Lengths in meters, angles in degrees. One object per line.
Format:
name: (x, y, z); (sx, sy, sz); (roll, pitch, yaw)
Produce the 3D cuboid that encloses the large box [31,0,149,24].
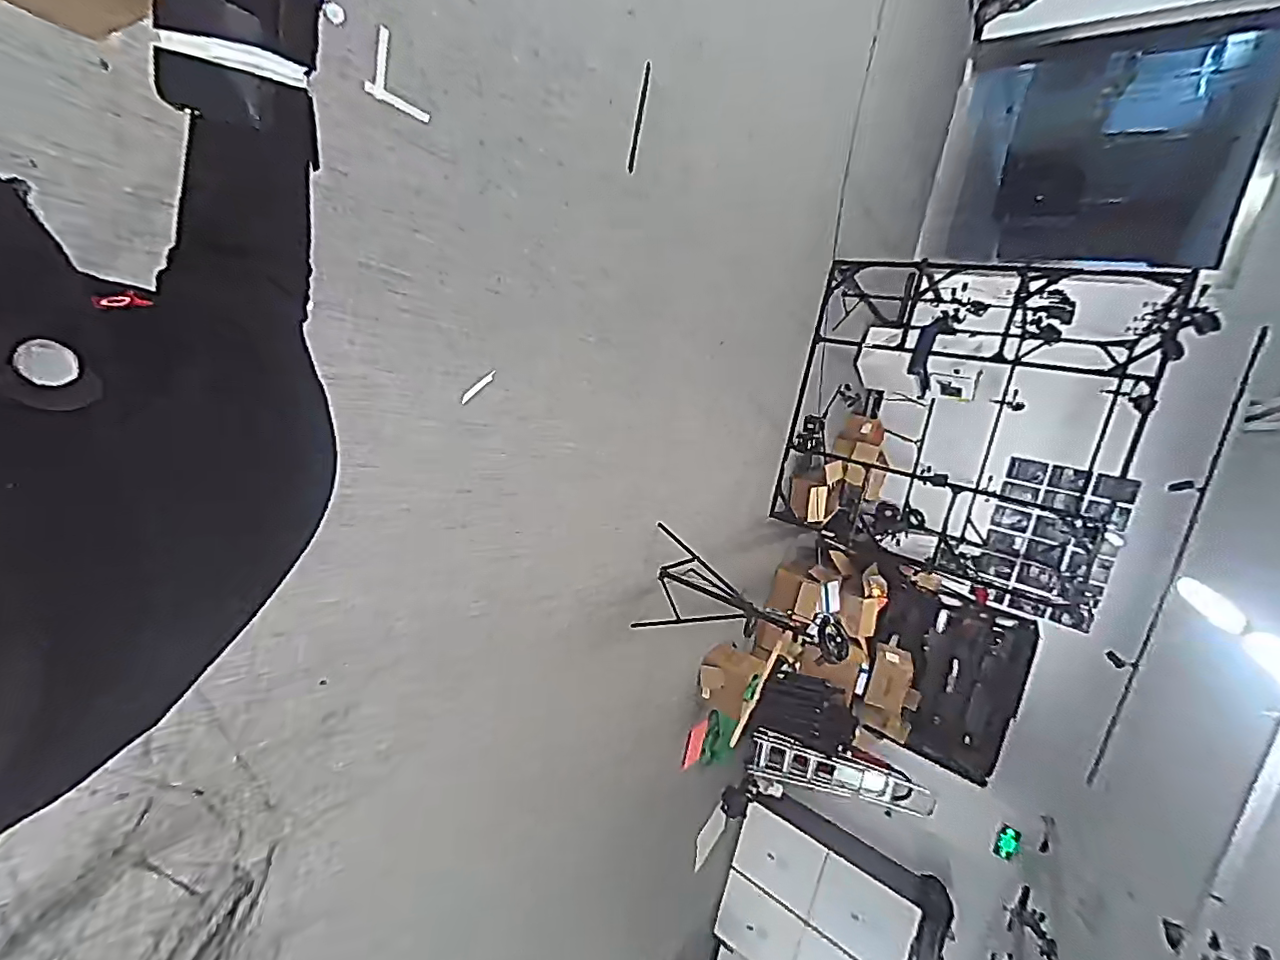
large box: (-0.438, -0.479, 0.201); (0.408, 0.320, 0.320); (-4, 113, -56)
